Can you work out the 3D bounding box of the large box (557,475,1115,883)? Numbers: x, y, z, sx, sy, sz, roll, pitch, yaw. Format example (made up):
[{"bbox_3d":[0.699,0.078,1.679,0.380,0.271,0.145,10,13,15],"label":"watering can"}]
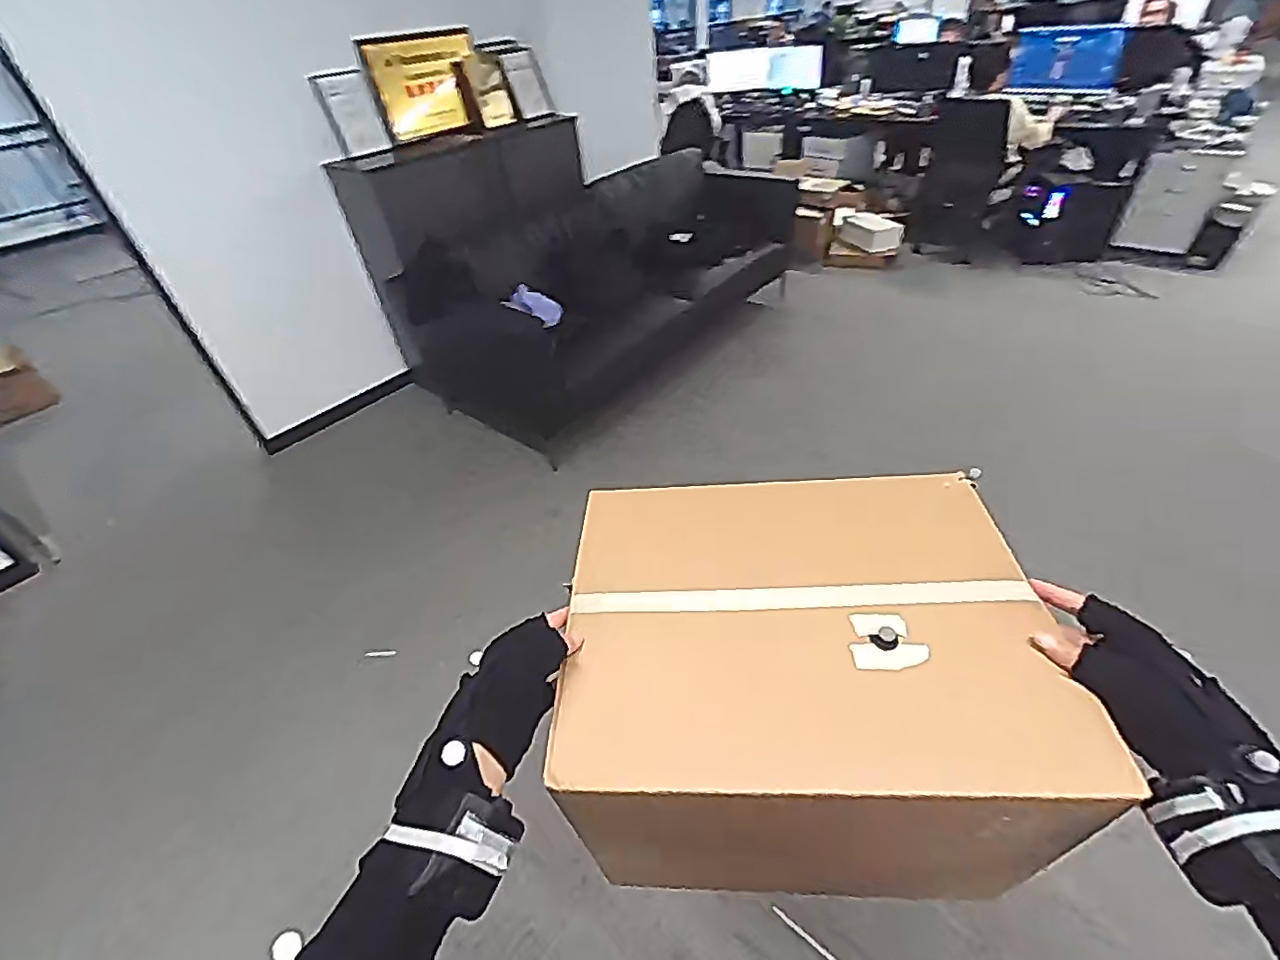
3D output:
[{"bbox_3d":[0.152,0.221,0.596,0.408,0.320,0.320,-4,43,6],"label":"large box"}]
